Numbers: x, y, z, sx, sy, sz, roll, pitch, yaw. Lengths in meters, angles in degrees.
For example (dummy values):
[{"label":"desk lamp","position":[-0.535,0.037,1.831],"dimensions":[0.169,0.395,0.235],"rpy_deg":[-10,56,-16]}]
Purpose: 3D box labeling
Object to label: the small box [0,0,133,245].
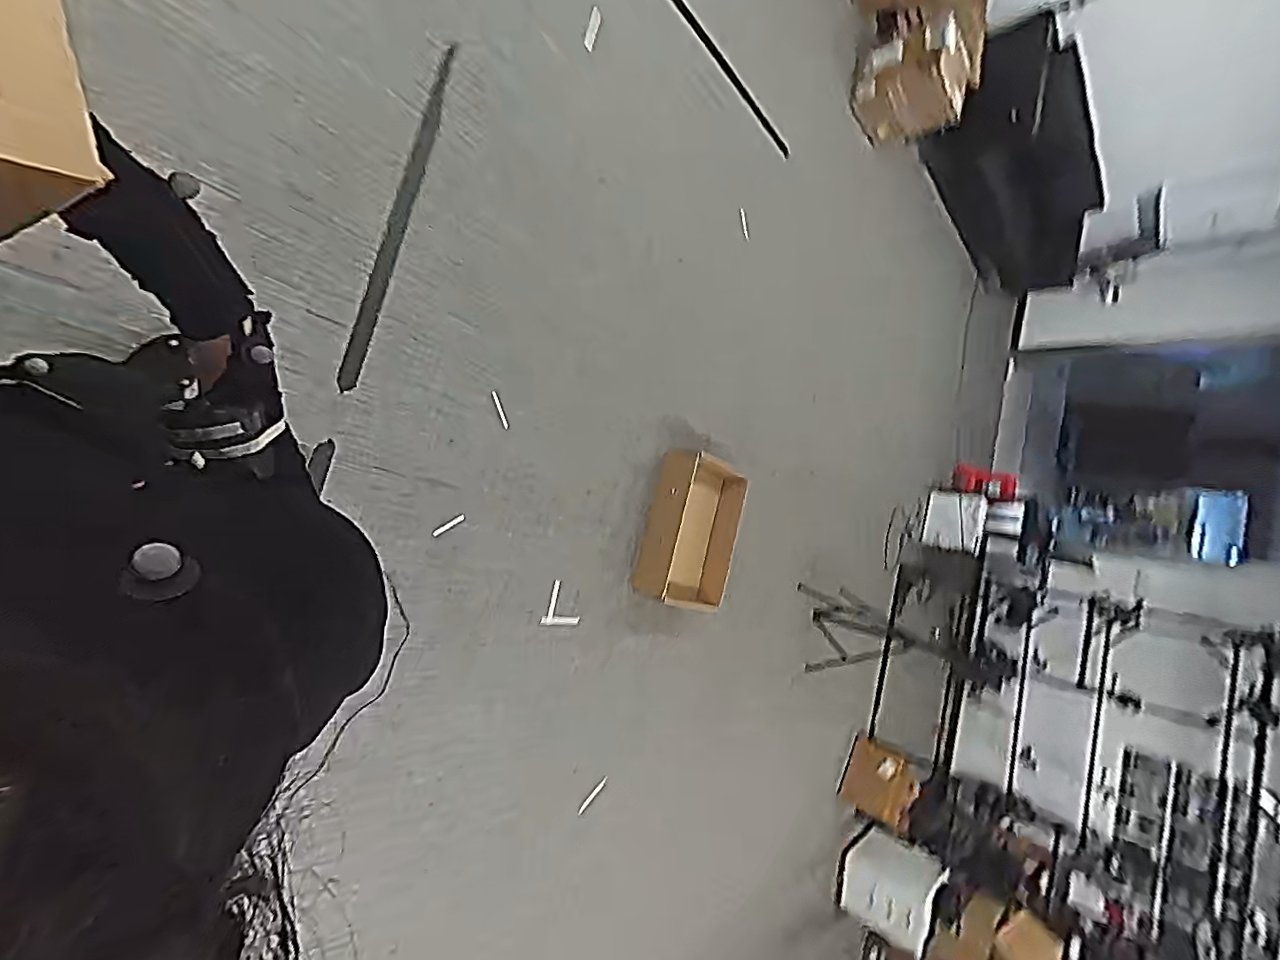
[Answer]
[{"label":"small box","position":[-0.364,-0.210,0.212],"dimensions":[0.168,0.176,0.179],"rpy_deg":[-24,107,-67]}]
